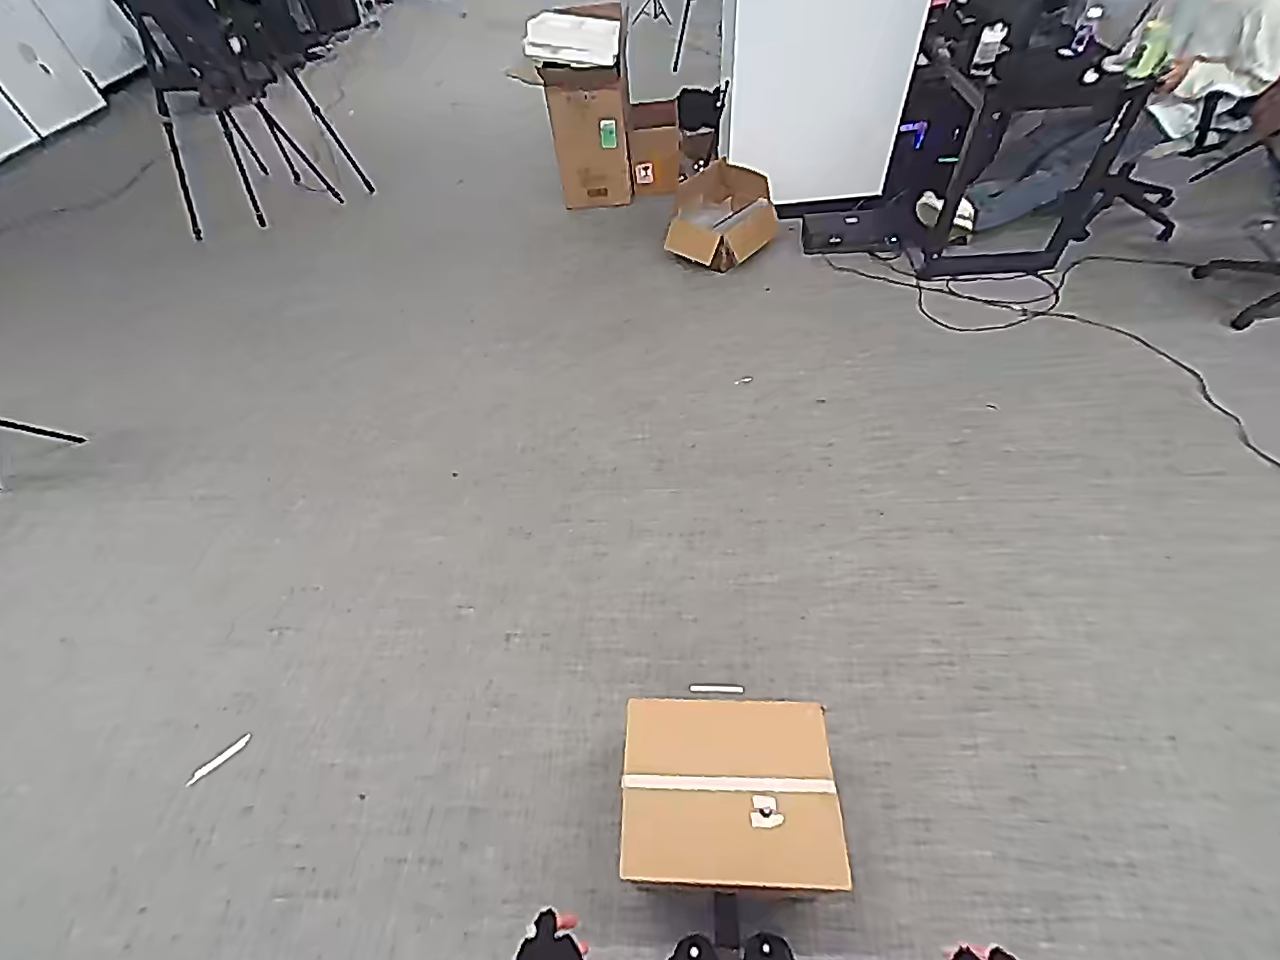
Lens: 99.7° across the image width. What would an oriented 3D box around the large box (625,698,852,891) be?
[{"bbox_3d":[0.182,0.673,1.152,0.408,0.320,0.320,-1,51,4],"label":"large box"}]
